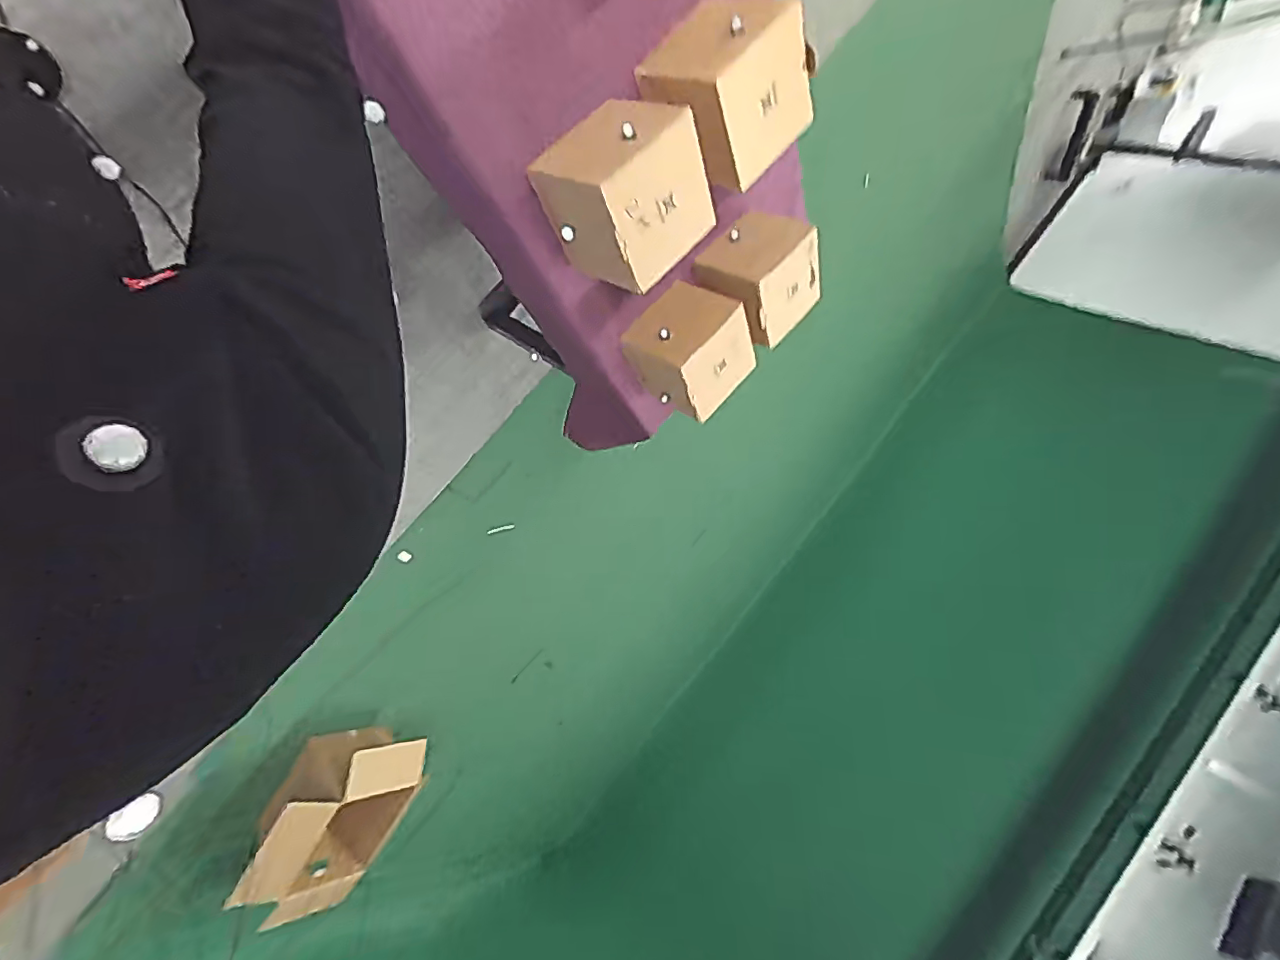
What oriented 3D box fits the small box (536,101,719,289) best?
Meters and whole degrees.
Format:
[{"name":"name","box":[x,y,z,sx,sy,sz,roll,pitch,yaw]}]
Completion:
[{"name":"small box","box":[-0.015,-0.416,0.783,0.179,0.176,0.168,-46,144,-12]}]

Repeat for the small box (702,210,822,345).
[{"name":"small box","box":[0.242,-0.410,1.089,0.179,0.176,0.168,-44,144,-13]}]

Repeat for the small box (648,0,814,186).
[{"name":"small box","box":[0.134,-0.586,0.819,0.179,0.176,0.168,-50,145,-7]}]
